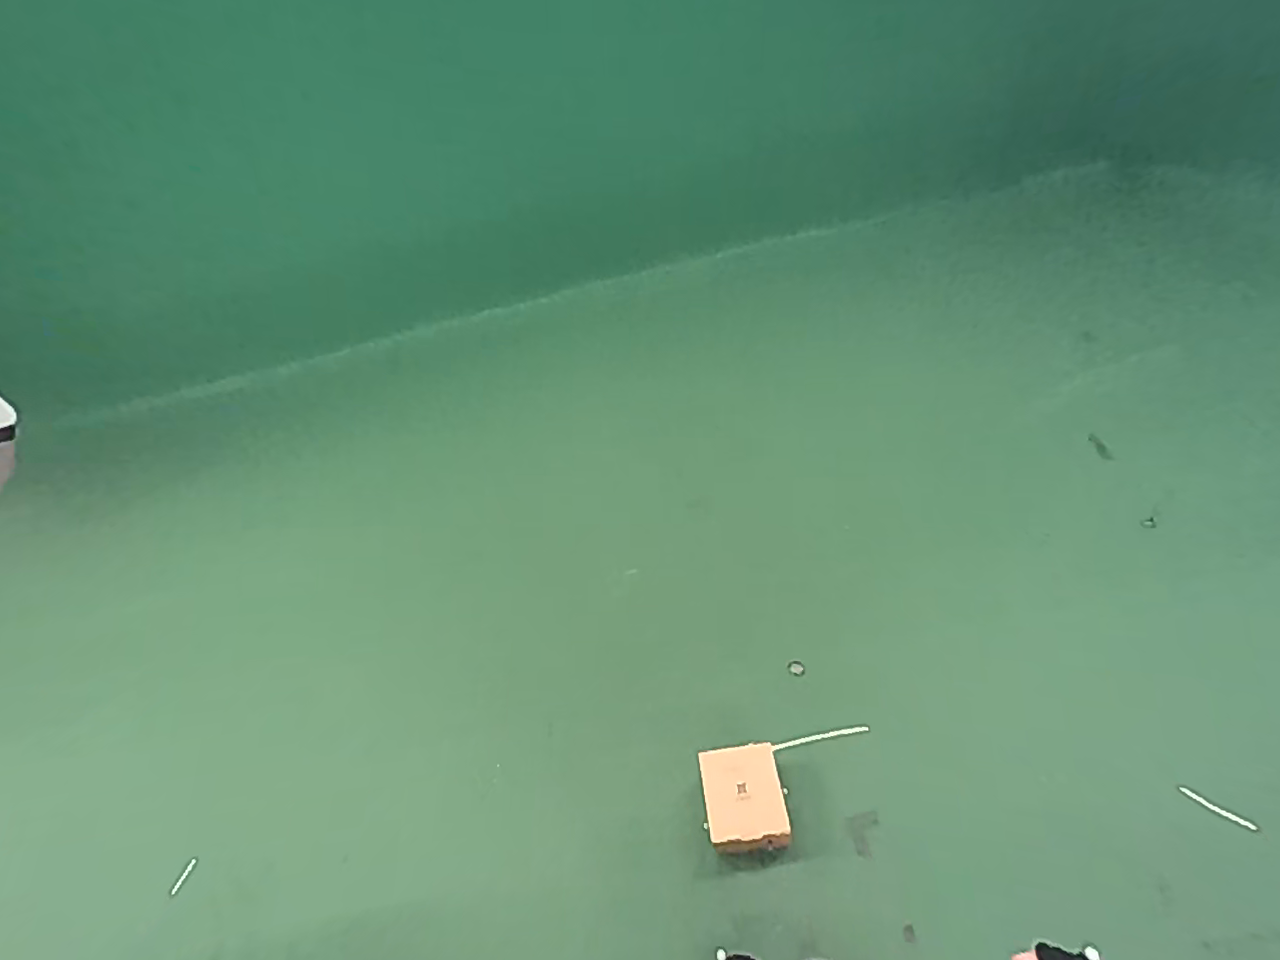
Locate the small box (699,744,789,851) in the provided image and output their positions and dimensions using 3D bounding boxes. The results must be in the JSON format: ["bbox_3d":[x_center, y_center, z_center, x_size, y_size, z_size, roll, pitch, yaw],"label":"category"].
[{"bbox_3d":[0.233,0.718,1.214,0.168,0.176,0.179,-10,48,4],"label":"small box"}]
